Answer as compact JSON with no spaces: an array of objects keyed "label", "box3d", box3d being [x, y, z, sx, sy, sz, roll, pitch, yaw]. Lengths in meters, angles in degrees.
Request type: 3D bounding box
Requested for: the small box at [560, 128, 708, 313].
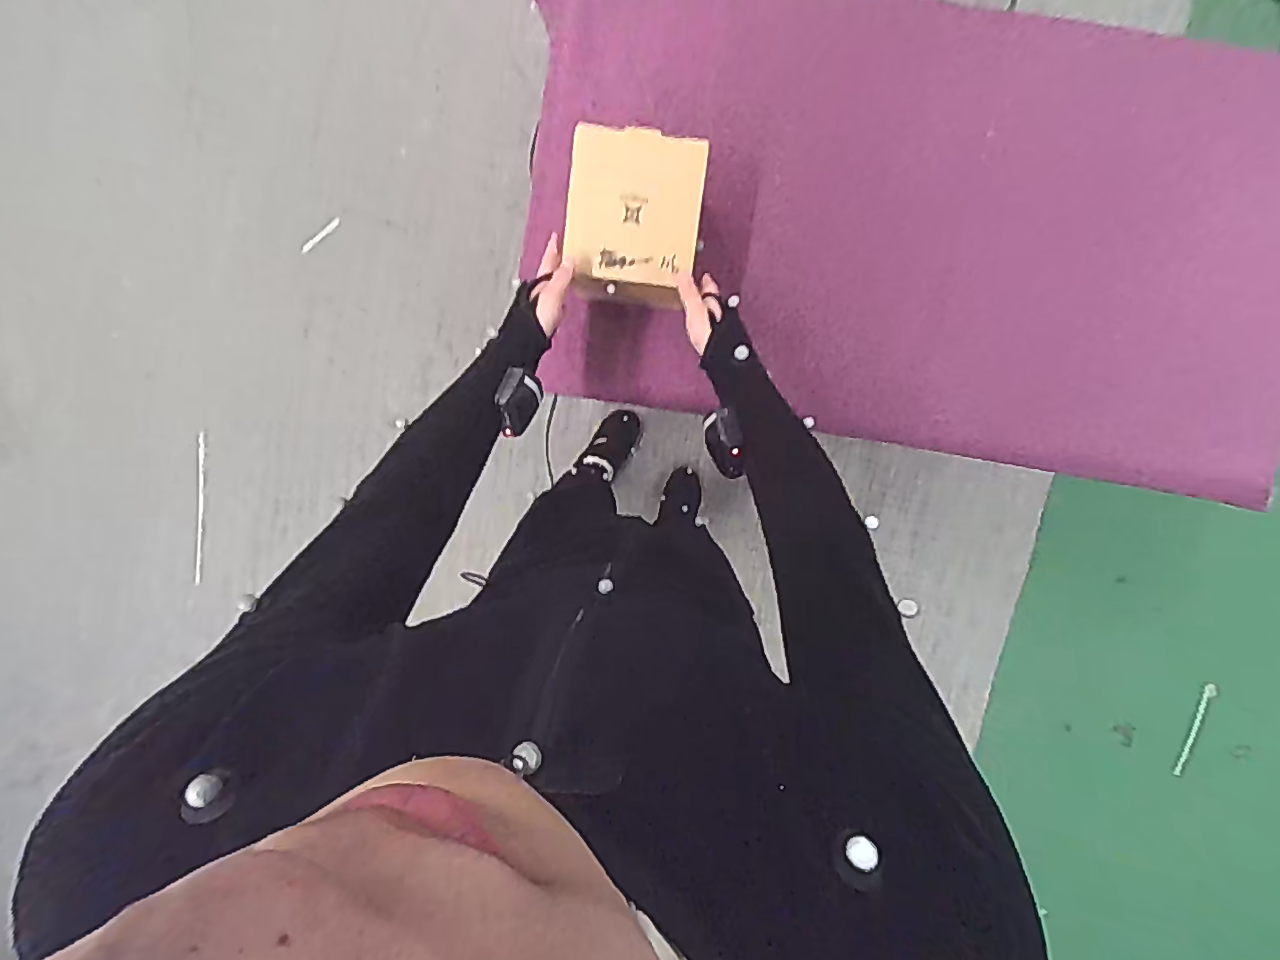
[{"label":"small box","box3d":[-0.008,-0.342,0.744,0.168,0.176,0.179,7,99,0]}]
